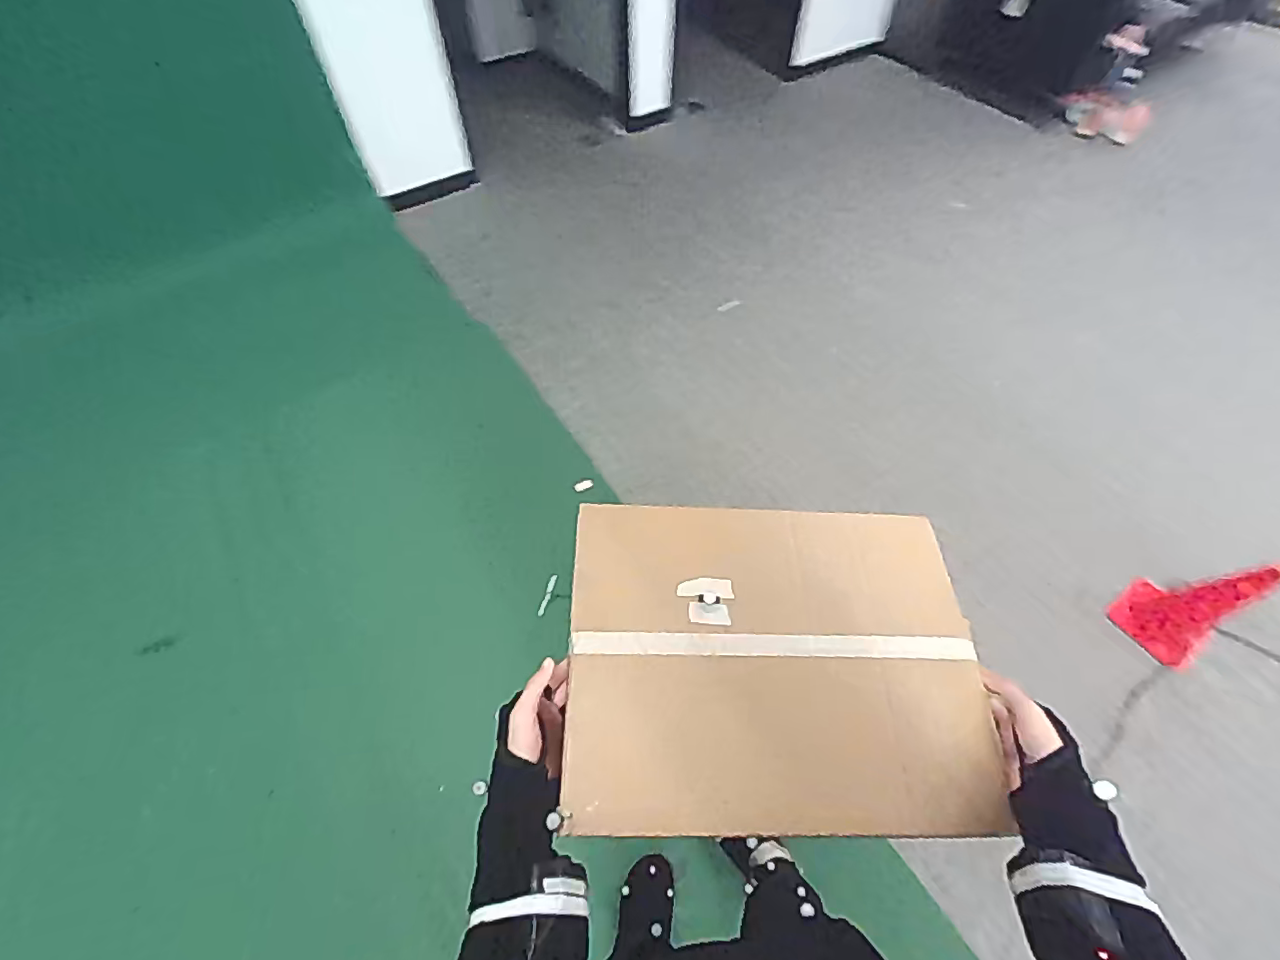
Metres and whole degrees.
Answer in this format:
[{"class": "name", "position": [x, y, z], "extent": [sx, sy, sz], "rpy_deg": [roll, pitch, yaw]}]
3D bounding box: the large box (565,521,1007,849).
[{"class": "large box", "position": [0.128, 0.259, 0.676], "extent": [0.408, 0.320, 0.320], "rpy_deg": [2, 59, -2]}]
